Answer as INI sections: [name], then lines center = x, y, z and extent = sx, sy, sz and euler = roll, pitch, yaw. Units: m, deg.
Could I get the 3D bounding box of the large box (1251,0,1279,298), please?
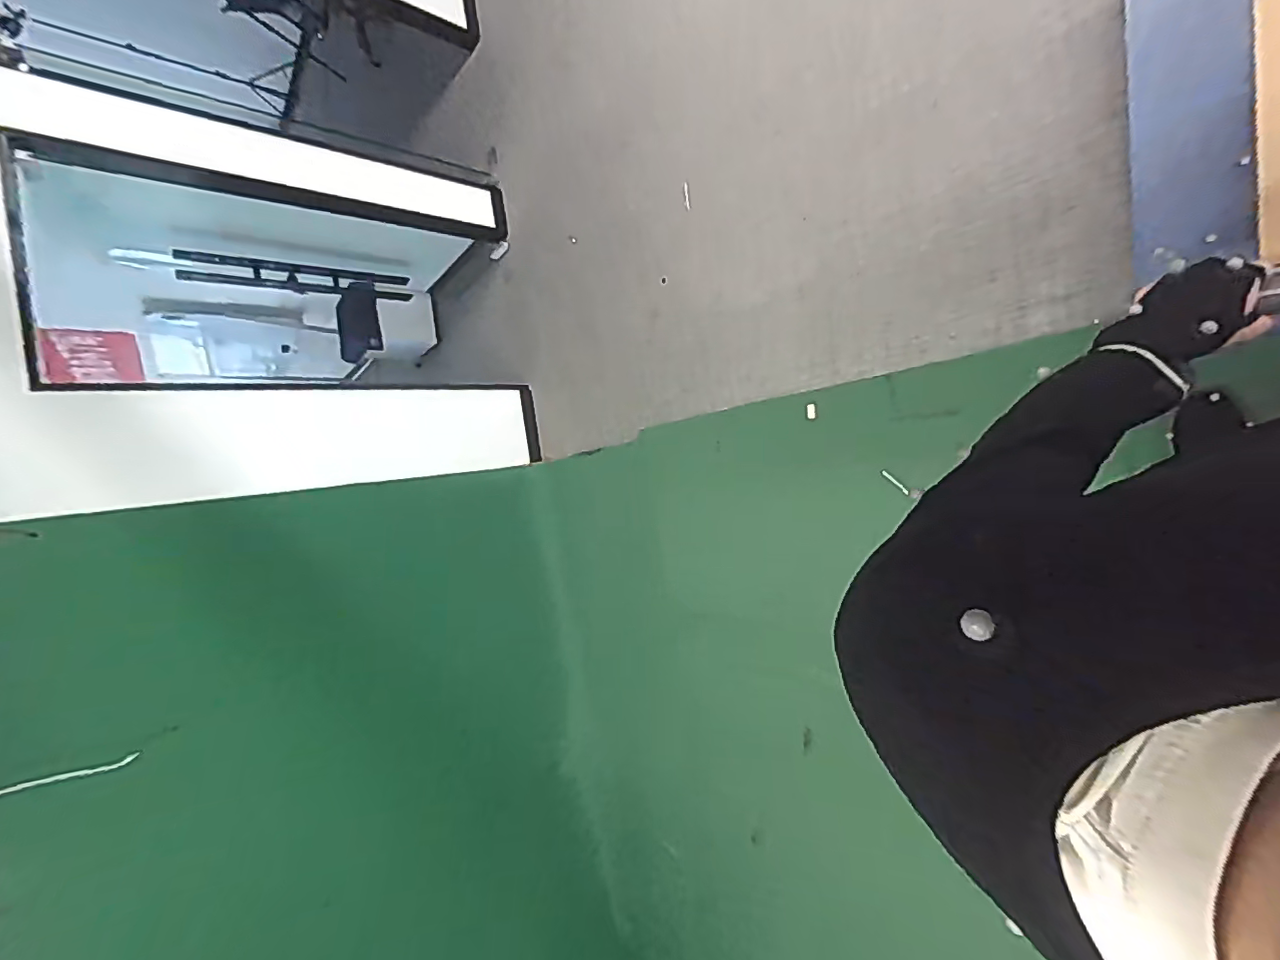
[large box]
center = 1.080, -0.507, 0.737
extent = 0.320, 0.320, 0.408
euler = -2, 94, 48
